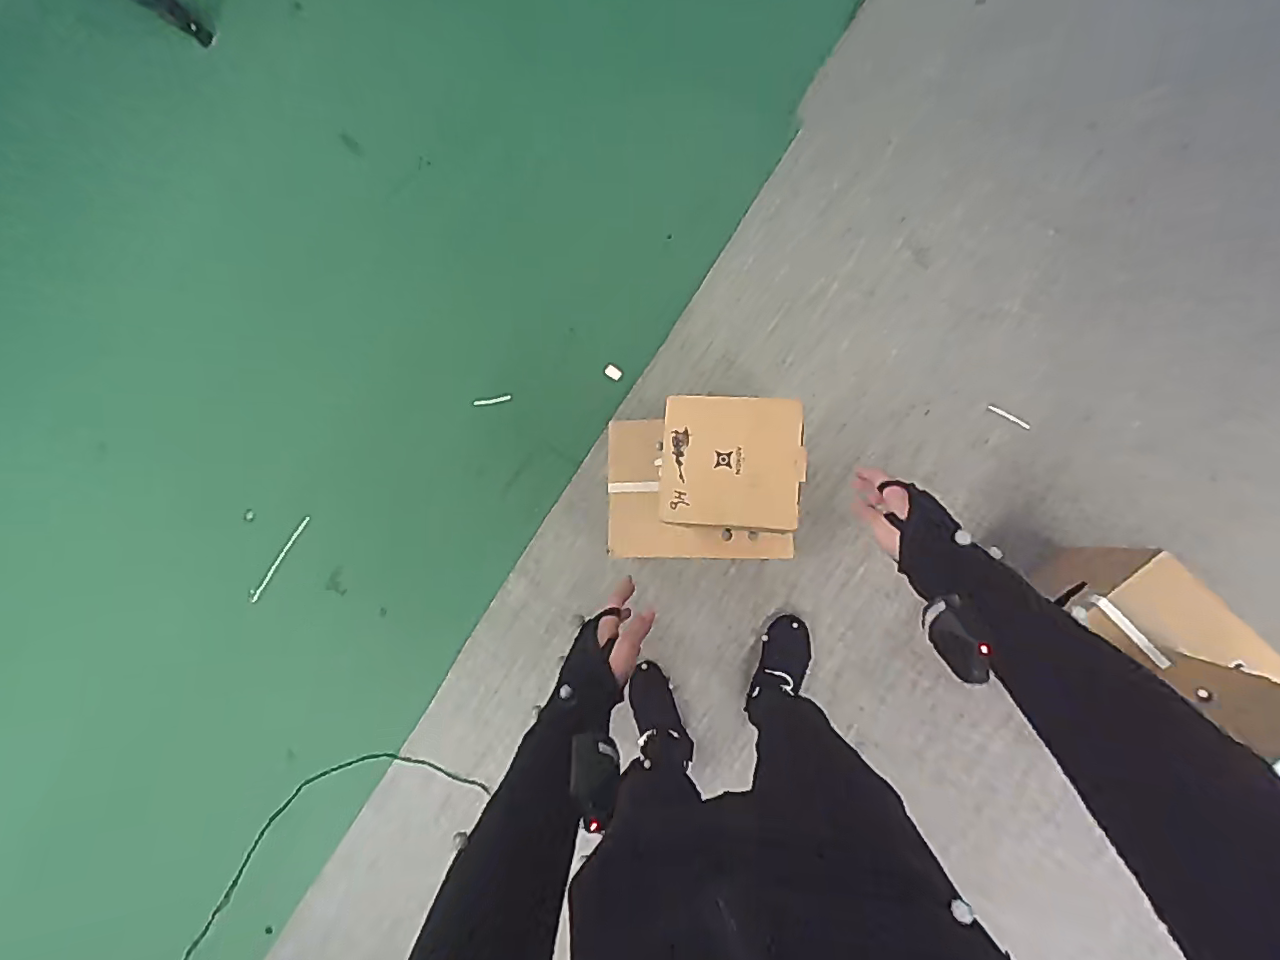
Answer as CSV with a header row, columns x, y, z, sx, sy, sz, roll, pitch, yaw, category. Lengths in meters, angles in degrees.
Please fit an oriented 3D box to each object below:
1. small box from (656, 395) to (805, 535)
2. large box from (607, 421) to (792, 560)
x,y,z,sx,sy,sz,roll,pitch,yaw,category
0.124,-0.014,0.755,0.179,0.176,0.168,4,84,9,small box
0.150,0.033,1.331,0.408,0.320,0.320,-1,82,11,large box
